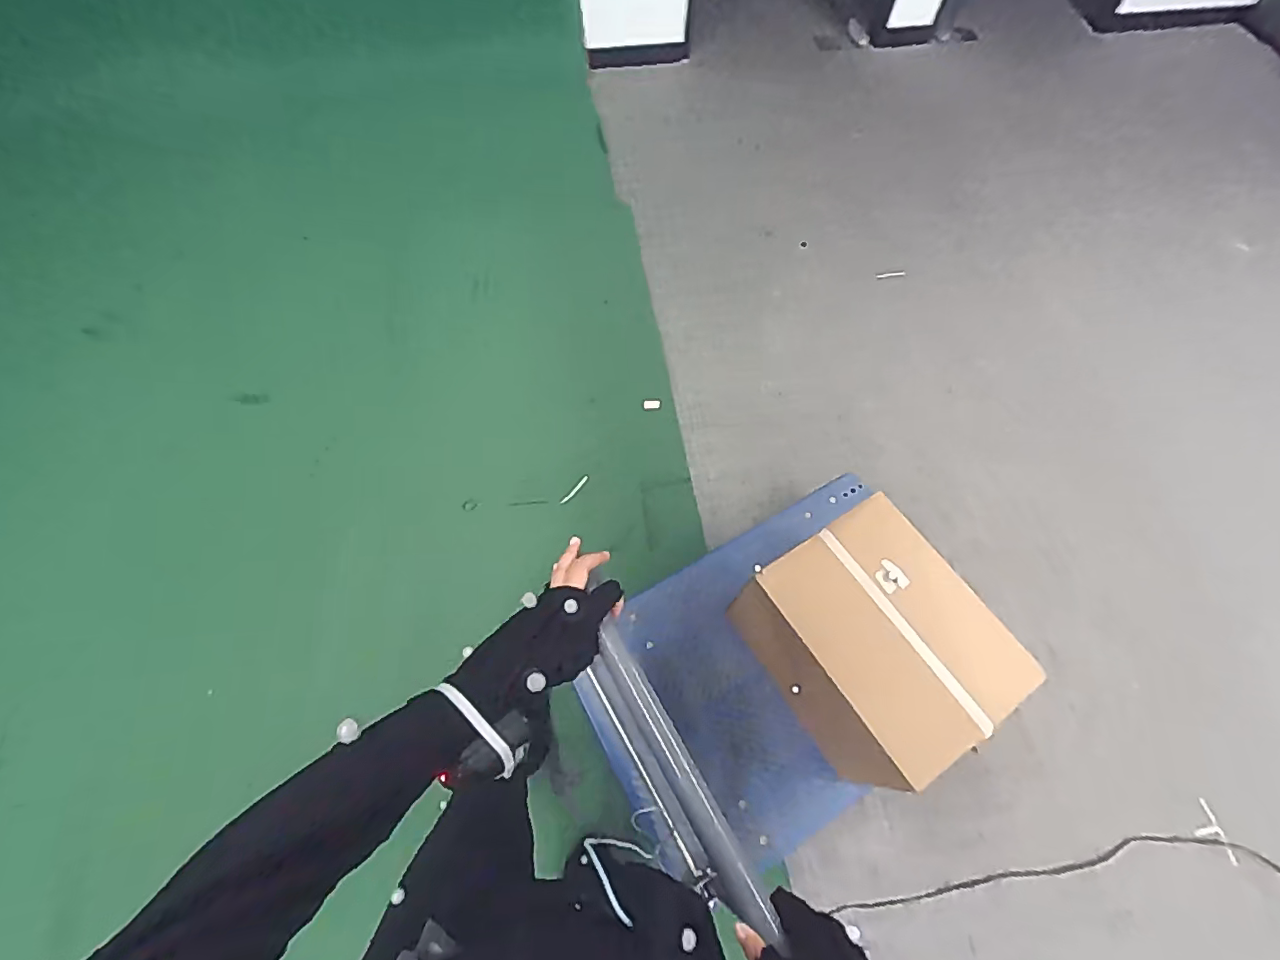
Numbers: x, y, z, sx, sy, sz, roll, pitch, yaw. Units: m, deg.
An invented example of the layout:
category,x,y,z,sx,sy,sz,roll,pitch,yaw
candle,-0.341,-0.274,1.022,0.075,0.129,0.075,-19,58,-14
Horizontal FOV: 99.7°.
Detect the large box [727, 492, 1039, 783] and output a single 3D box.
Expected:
category,x,y,z,sx,sy,sz,roll,pitch,yaw
large box,0.427,0.308,1.060,0.320,0.320,0.408,-29,67,-15
